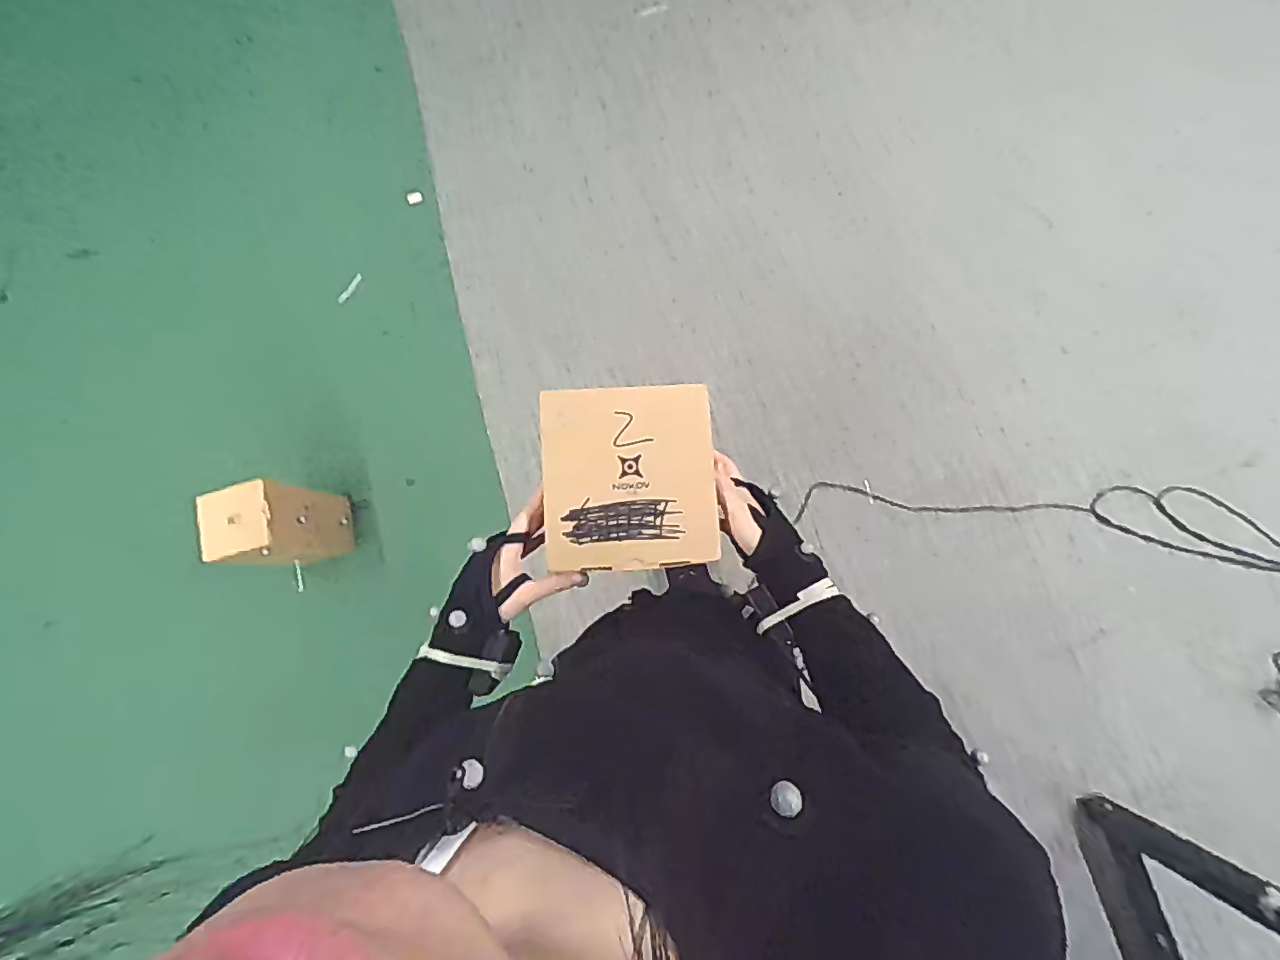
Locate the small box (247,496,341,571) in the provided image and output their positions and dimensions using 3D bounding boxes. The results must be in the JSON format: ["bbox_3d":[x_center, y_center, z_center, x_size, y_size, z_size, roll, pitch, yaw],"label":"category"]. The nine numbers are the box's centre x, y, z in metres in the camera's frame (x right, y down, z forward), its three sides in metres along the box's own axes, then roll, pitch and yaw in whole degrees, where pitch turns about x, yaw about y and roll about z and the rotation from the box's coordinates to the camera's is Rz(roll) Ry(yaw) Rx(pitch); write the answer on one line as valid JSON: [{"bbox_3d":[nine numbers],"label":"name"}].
[{"bbox_3d":[-0.970,0.154,1.502,0.179,0.176,0.168,-16,79,2],"label":"small box"}]

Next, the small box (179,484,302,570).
[{"bbox_3d":[-0.985,0.124,1.343,0.179,0.176,0.168,-17,78,1],"label":"small box"}]
